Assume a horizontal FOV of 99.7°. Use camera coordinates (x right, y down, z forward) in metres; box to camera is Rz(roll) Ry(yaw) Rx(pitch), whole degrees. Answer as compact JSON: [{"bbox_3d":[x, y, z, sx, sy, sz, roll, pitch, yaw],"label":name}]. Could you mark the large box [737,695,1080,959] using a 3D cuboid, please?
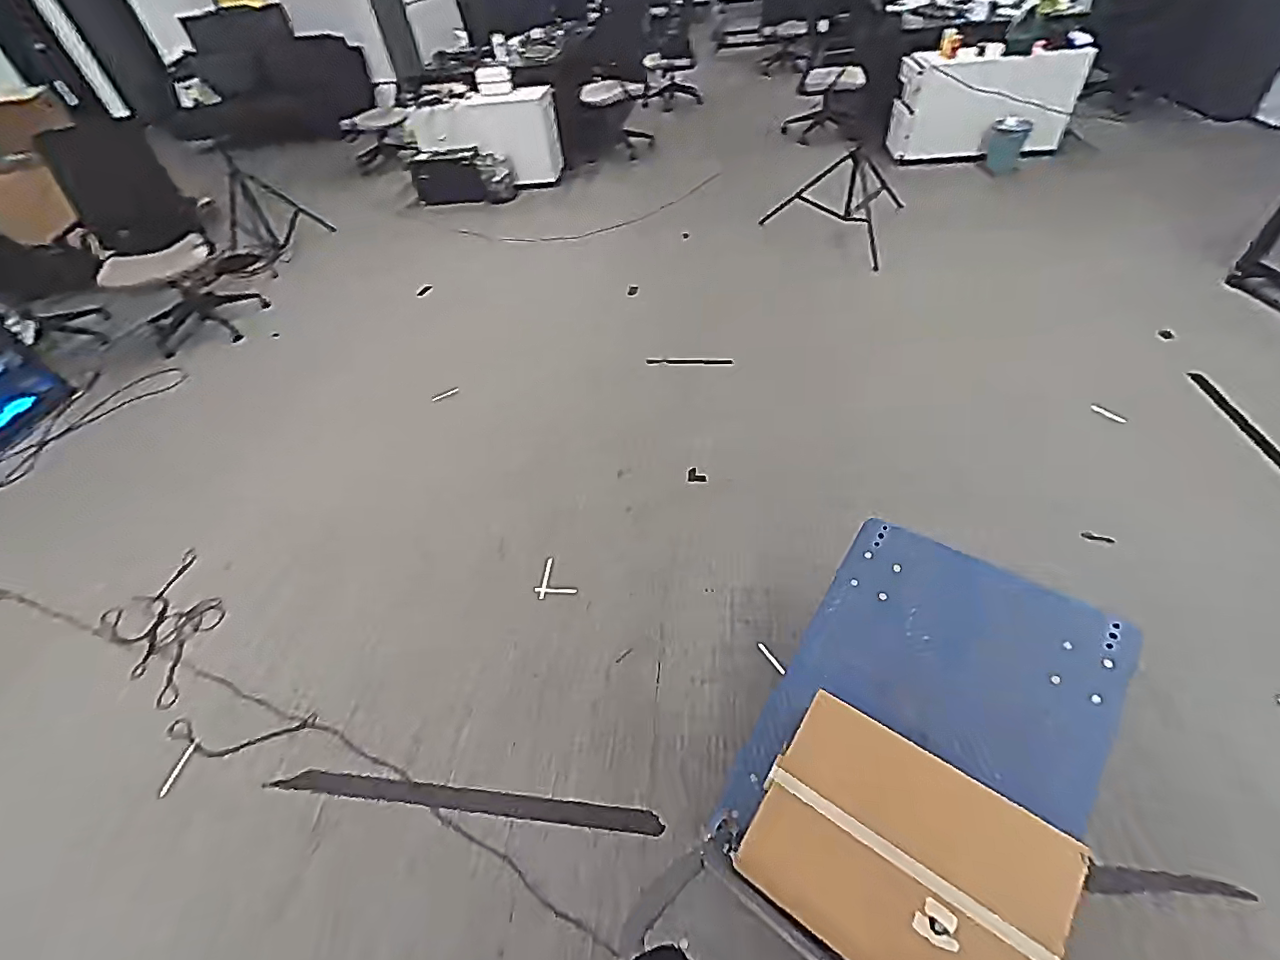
[{"bbox_3d":[0.424,0.640,0.940,0.408,0.320,0.320,26,71,27],"label":"large box"}]
